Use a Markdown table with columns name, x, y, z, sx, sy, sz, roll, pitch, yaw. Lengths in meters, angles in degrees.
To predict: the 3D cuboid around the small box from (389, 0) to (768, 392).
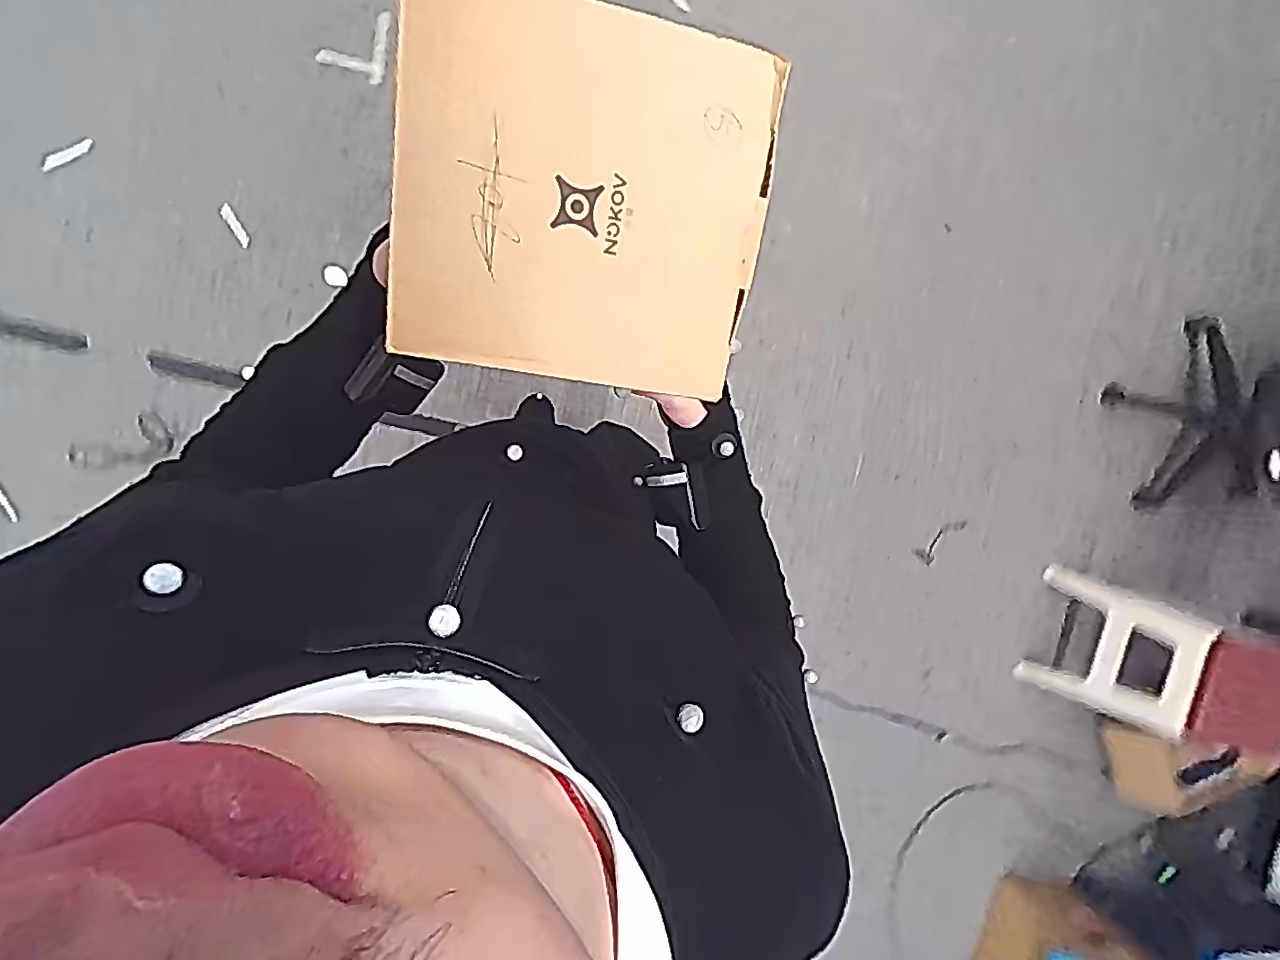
| name | x | y | z | sx | sy | sz | roll | pitch | yaw |
| --- | --- | --- | --- | --- | --- | --- | --- | --- | --- |
| small box | -0.045 | -0.160 | 0.346 | 0.179 | 0.176 | 0.168 | 5 | 106 | -11 |
